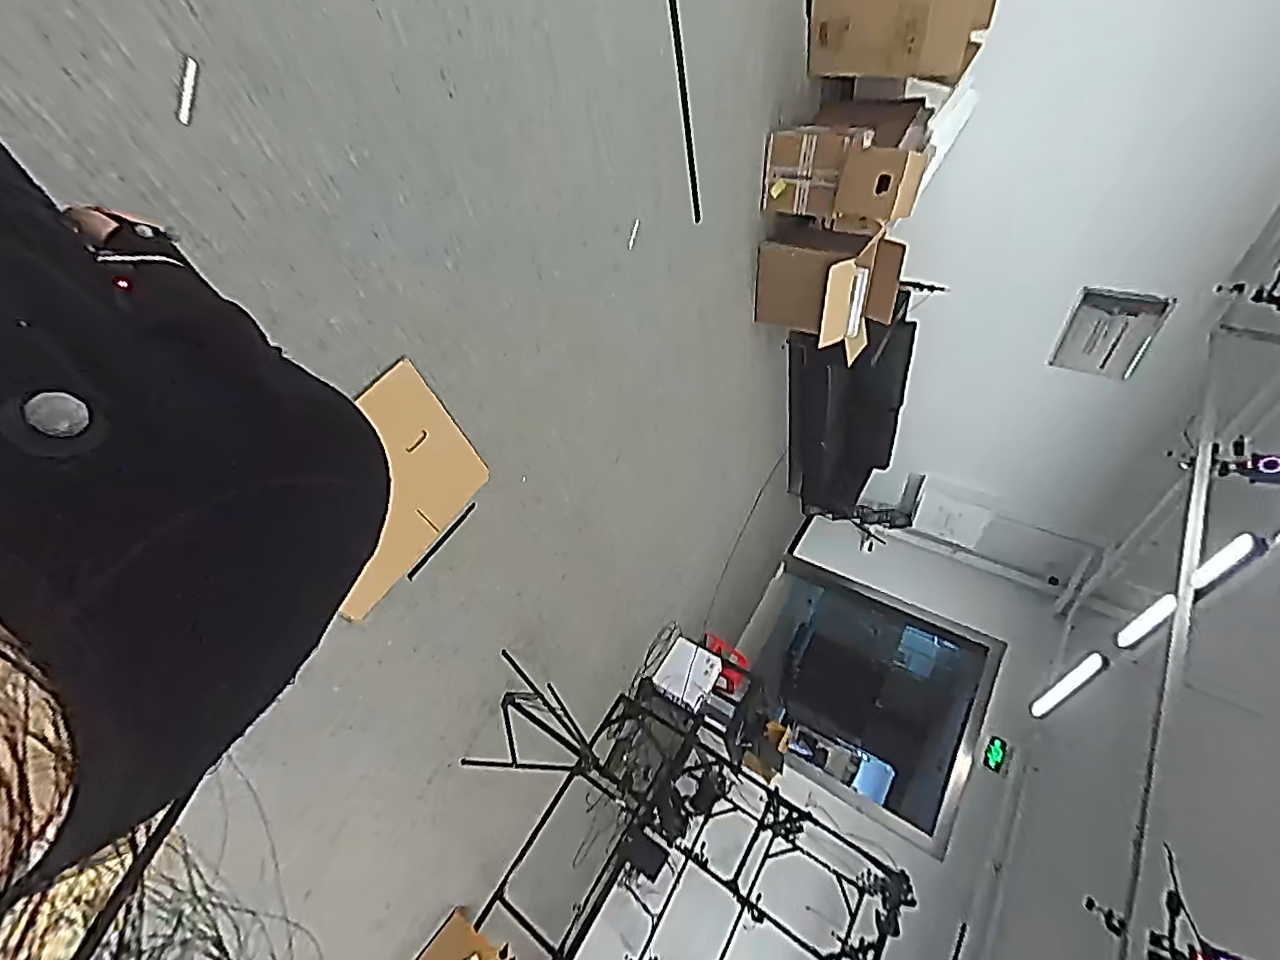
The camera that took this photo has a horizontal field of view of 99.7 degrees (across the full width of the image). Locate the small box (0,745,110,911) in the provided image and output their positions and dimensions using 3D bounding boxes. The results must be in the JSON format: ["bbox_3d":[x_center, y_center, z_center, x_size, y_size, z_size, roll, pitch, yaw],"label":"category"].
[{"bbox_3d":[-1.067,0.597,0.931,0.179,0.176,0.168,1,107,-58],"label":"small box"}]
